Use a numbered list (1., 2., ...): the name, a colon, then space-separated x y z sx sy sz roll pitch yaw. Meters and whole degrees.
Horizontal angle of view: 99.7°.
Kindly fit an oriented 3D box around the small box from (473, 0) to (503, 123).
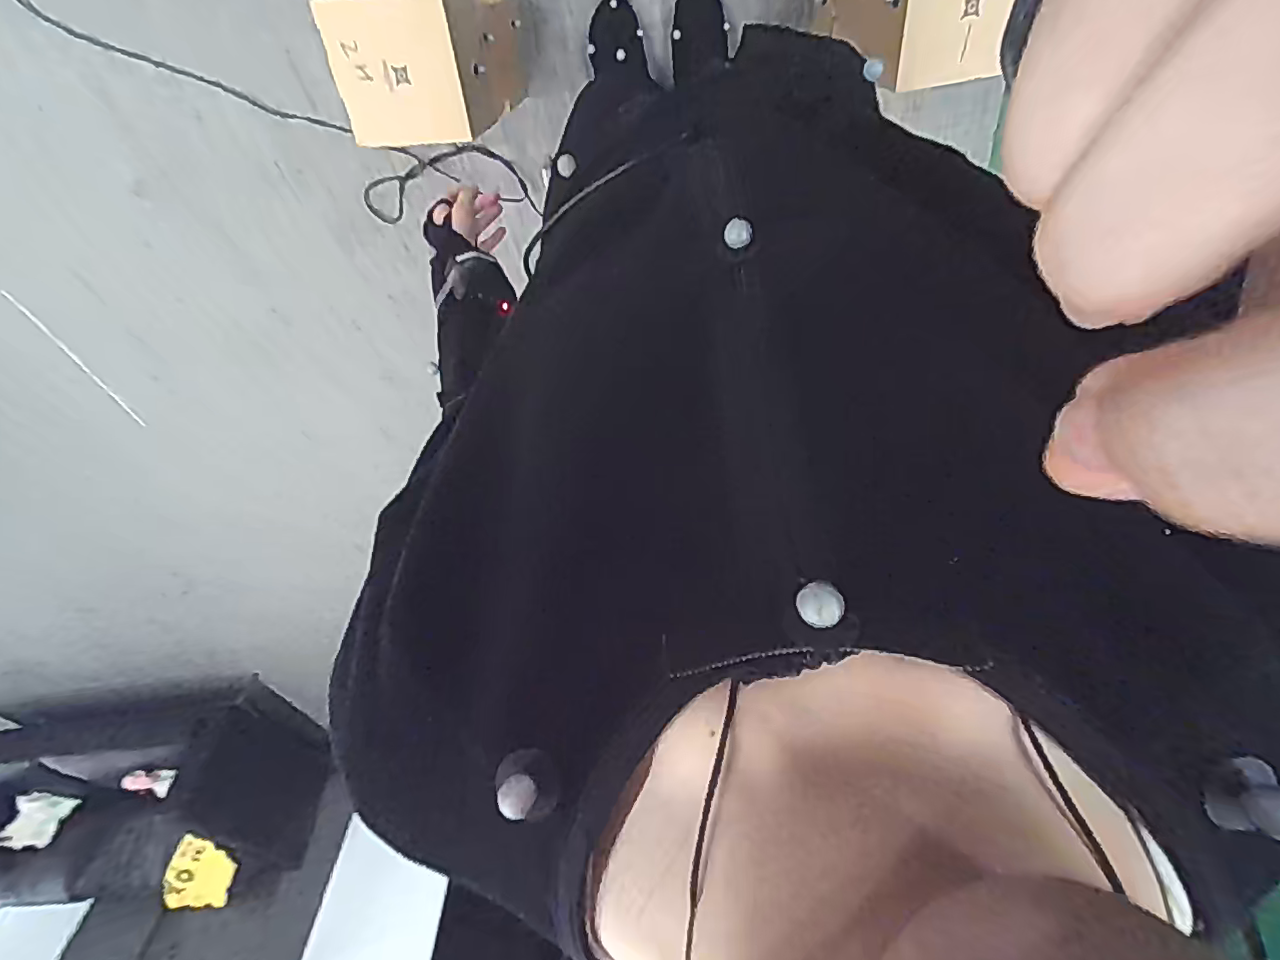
1. small box: -0.333 -0.713 0.912 0.168 0.176 0.179 10 131 -6

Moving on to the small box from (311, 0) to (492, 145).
1. small box: -0.327 -0.602 0.790 0.179 0.176 0.168 0 131 3

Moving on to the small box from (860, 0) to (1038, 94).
1. small box: 0.411 -0.649 0.729 0.168 0.176 0.179 -6 133 6

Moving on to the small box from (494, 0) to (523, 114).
1. small box: -0.322 -0.824 1.030 0.168 0.176 0.179 5 133 -2
